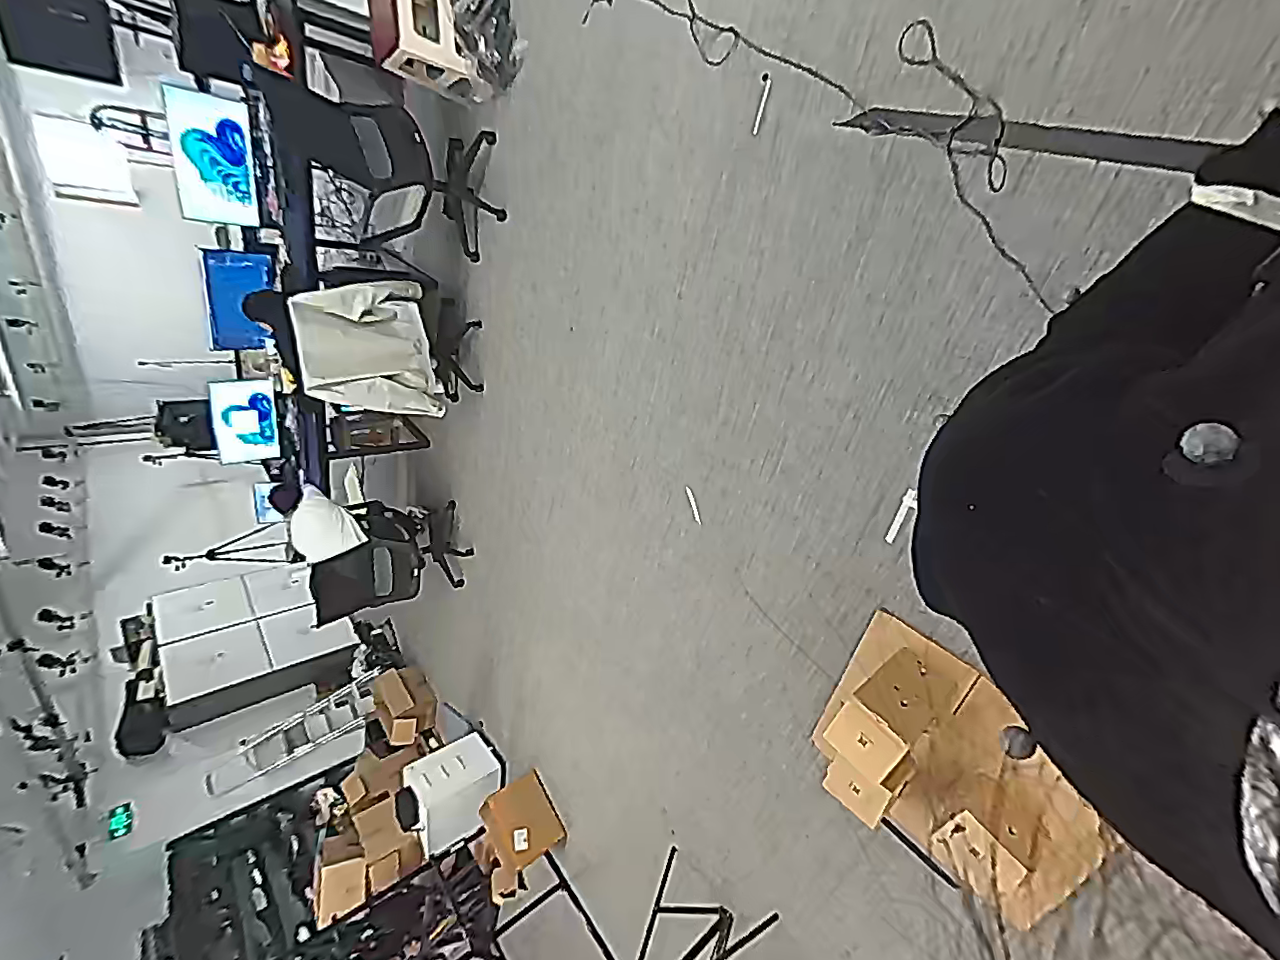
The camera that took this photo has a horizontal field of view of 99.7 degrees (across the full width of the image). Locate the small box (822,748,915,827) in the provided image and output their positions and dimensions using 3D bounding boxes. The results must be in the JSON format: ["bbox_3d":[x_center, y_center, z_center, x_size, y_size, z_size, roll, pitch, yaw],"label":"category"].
[{"bbox_3d":[0.690,0.884,1.631,0.179,0.176,0.168,31,123,40],"label":"small box"}]

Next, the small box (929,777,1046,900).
[{"bbox_3d":[0.900,0.917,1.397,0.179,0.176,0.168,44,129,31],"label":"small box"}]

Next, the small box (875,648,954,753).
[{"bbox_3d":[0.737,0.607,1.504,0.168,0.176,0.179,36,124,36],"label":"small box"}]

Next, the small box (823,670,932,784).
[{"bbox_3d":[0.616,0.632,1.398,0.168,0.176,0.179,40,126,35],"label":"small box"}]
